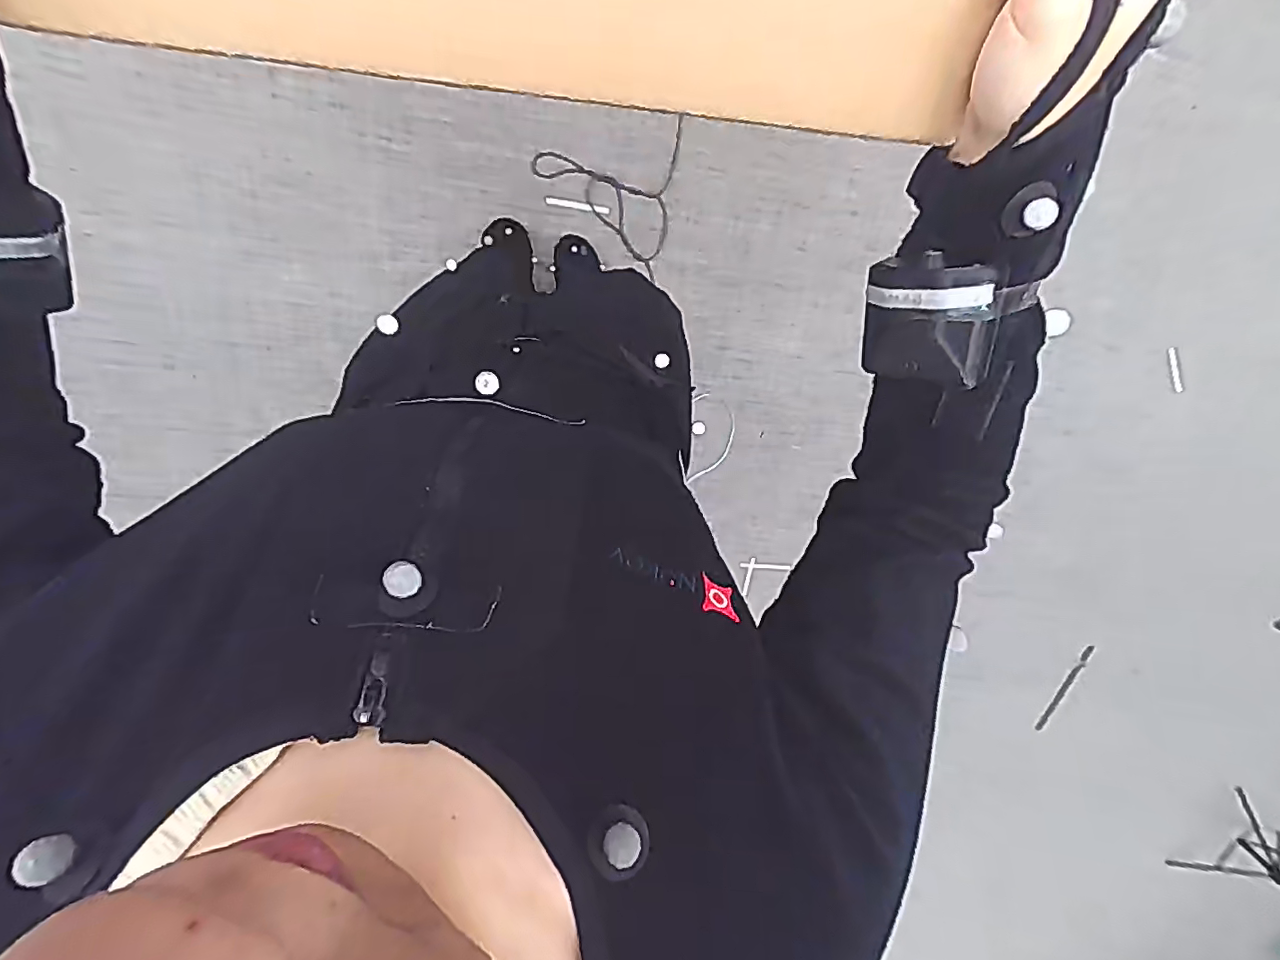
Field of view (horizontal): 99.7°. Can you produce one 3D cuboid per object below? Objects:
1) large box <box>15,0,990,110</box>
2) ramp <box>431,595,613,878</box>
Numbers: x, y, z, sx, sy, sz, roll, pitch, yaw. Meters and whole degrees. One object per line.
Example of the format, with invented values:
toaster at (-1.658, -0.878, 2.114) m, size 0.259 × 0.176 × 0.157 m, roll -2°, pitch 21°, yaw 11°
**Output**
large box at (-0.048, -0.391, 0.242) m, size 0.408 × 0.320 × 0.320 m, roll 3°, pitch 132°, yaw -6°
ramp at (-0.383, 0.832, 1.691) m, size 0.509 × 0.206 × 0.991 m, roll 5°, pitch 113°, yaw -5°
